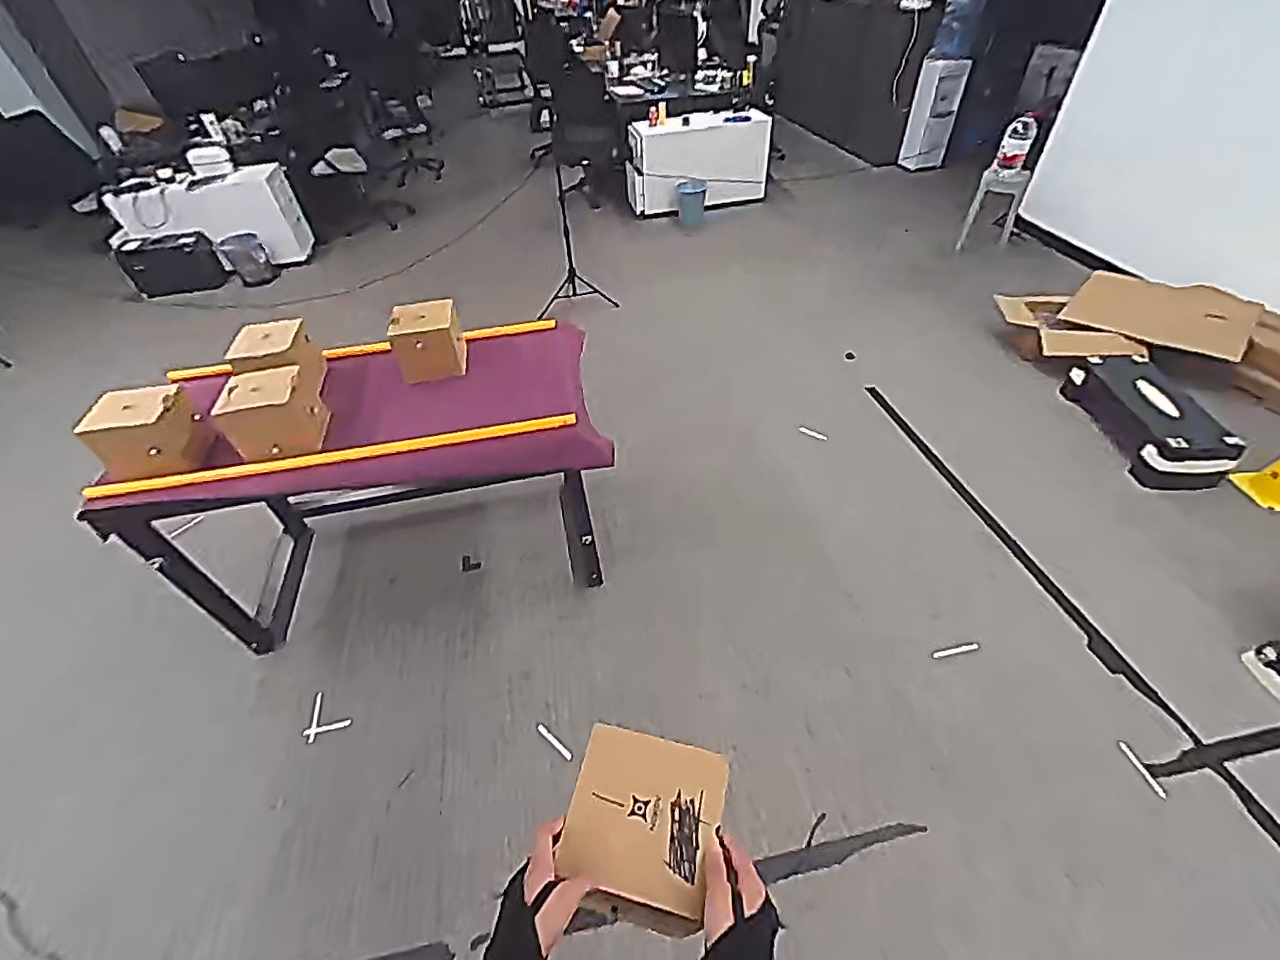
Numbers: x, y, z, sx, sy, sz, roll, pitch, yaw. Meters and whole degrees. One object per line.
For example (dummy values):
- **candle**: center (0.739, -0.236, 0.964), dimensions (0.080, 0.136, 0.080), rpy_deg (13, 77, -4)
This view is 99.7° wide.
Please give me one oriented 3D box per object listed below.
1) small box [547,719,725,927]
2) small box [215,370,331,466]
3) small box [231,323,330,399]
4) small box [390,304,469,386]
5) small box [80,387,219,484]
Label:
- **small box**: center (-0.005, 0.433, 0.678), dimensions (0.179, 0.176, 0.168), rpy_deg (14, 46, 6)
- **small box**: center (-0.933, -0.159, 1.398), dimensions (0.179, 0.176, 0.168), rpy_deg (-10, 45, -7)
- **small box**: center (-1.037, -0.333, 1.579), dimensions (0.168, 0.176, 0.179), rpy_deg (-10, 47, -5)
- **small box**: center (-0.622, -0.403, 1.621), dimensions (0.179, 0.176, 0.168), rpy_deg (-10, 47, -5)
- **small box**: center (-1.224, -0.111, 1.369), dimensions (0.179, 0.176, 0.168), rpy_deg (-9, 45, -8)
